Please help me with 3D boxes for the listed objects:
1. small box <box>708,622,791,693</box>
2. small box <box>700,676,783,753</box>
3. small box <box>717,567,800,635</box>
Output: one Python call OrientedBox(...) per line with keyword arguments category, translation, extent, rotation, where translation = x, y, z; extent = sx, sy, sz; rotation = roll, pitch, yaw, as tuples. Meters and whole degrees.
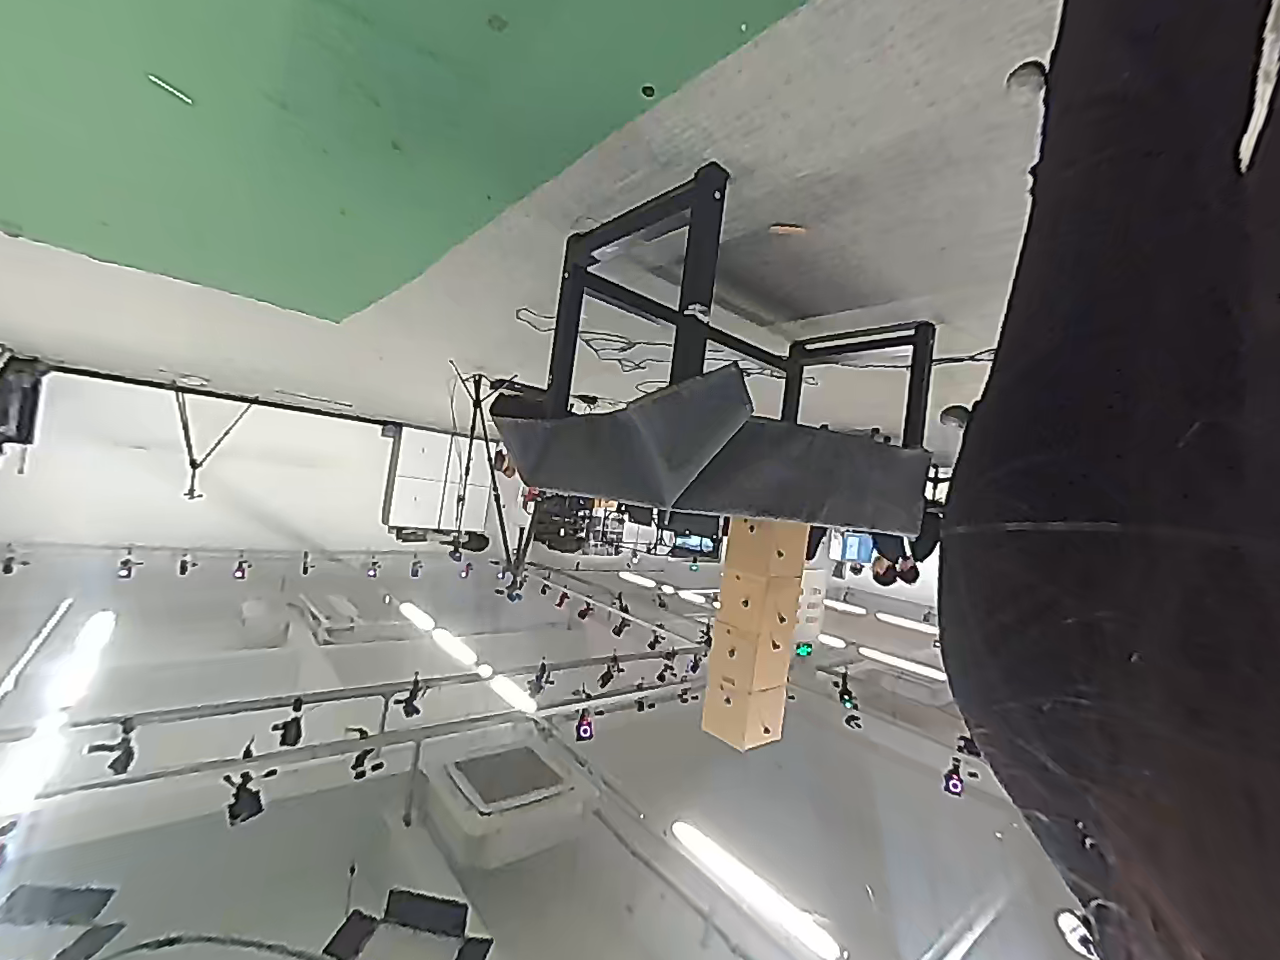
OrientedBox(category="small box", translation=(0.328, 0.517, 1.612), extent=(0.179, 0.176, 0.168), rotation=(10, 178, -41))
OrientedBox(category="small box", translation=(0.307, 0.680, 1.614), extent=(0.179, 0.176, 0.168), rotation=(10, 177, -40))
OrientedBox(category="small box", translation=(0.353, 0.355, 1.611), extent=(0.179, 0.176, 0.168), rotation=(9, 178, -39))
